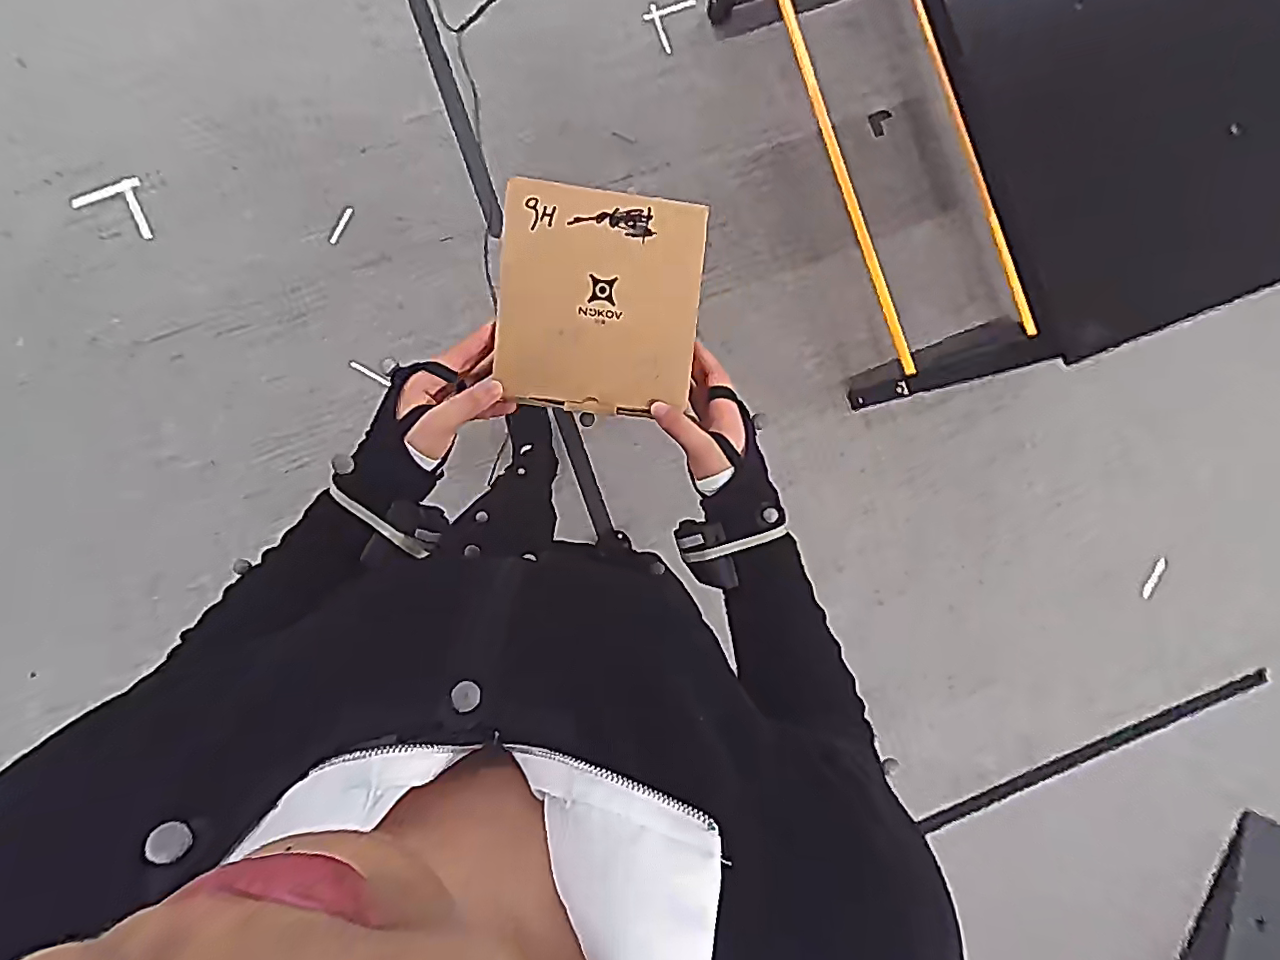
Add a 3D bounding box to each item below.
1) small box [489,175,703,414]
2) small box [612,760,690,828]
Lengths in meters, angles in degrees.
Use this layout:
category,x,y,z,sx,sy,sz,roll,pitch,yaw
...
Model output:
category,x,y,z,sx,sy,sz,roll,pitch,yaw
small box,-0.044,-0.161,0.525,0.168,0.176,0.179,5,97,-7
small box,0.029,0.883,1.437,0.179,0.176,0.168,-18,92,-3
